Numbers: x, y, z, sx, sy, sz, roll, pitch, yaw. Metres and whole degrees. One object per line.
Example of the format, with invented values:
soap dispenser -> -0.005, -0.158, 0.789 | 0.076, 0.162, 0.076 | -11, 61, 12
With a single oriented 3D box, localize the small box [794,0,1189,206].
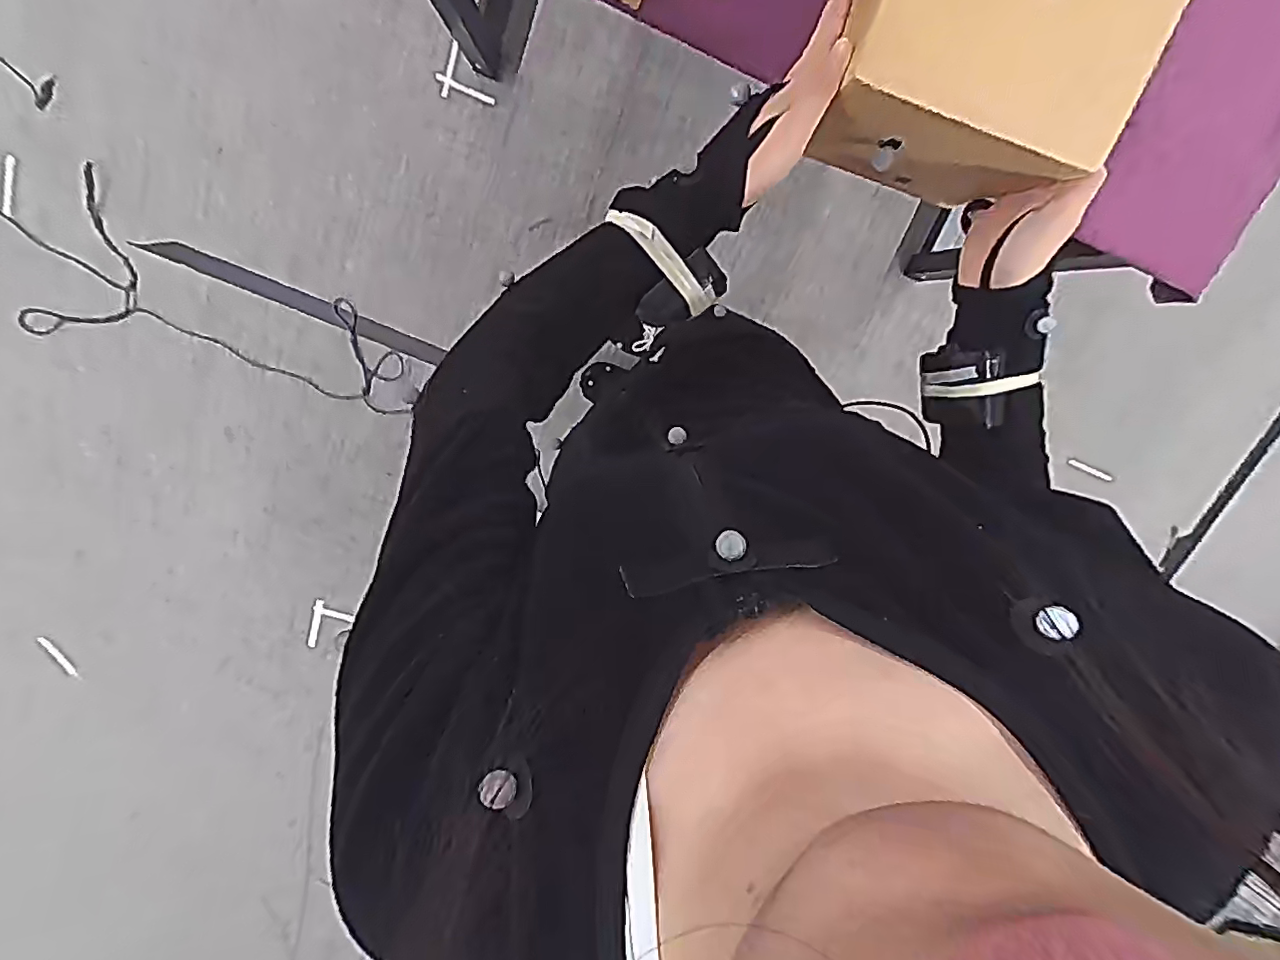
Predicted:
small box -> 0.222, -0.309, 0.366 | 0.168, 0.176, 0.179 | 16, 107, -6
